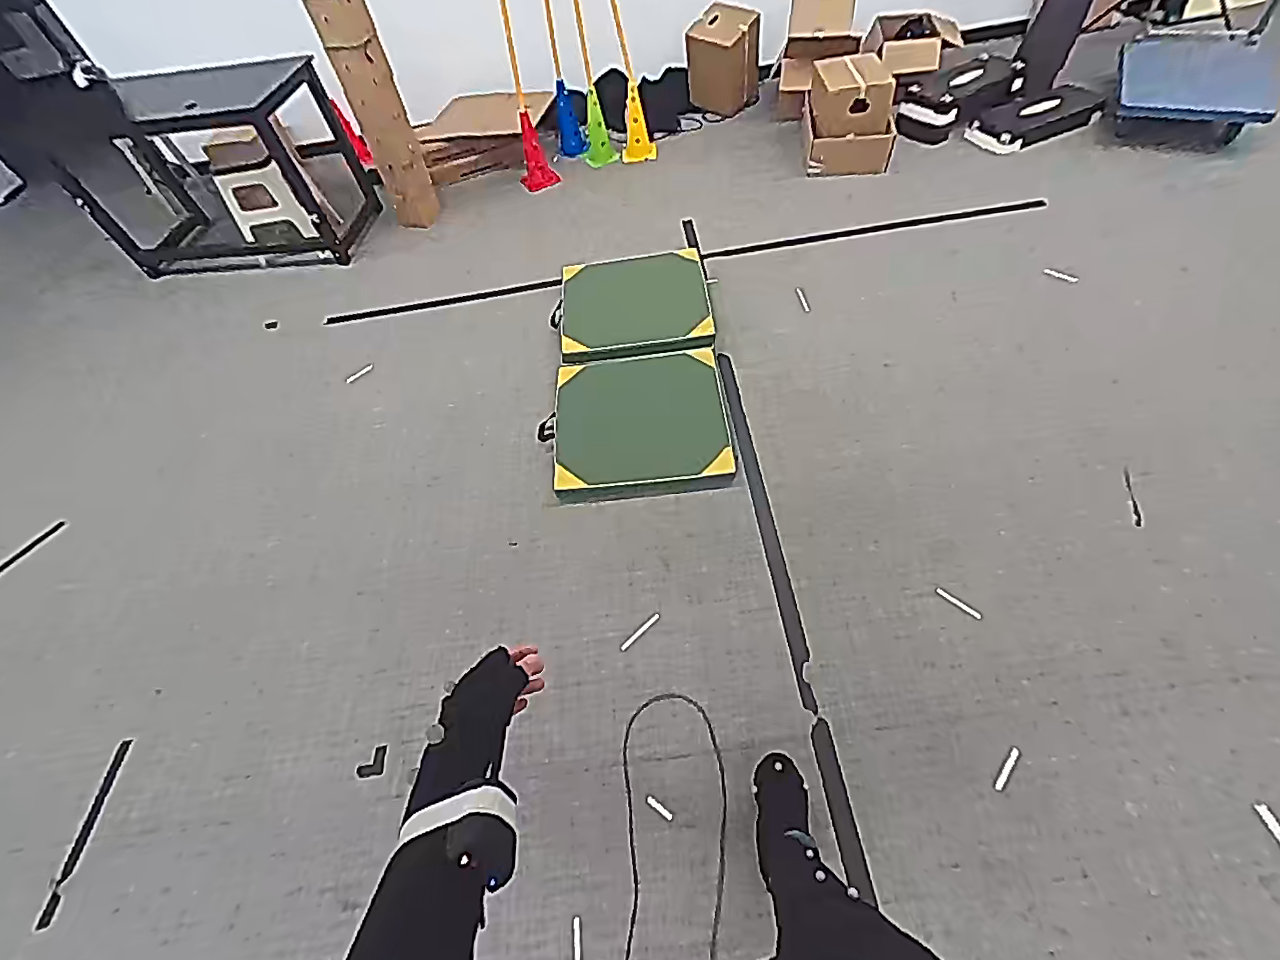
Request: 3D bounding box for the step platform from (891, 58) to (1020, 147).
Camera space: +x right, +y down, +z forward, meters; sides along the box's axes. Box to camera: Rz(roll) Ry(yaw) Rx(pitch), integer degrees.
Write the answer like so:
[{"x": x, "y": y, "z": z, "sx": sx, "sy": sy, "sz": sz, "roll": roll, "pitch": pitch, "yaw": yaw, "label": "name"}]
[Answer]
[{"x": 1.712, "y": -2.059, "z": 2.938, "sx": 0.684, "sy": 0.204, "sz": 0.286, "roll": -32, "pitch": 57, "yaw": -14, "label": "step platform"}]
